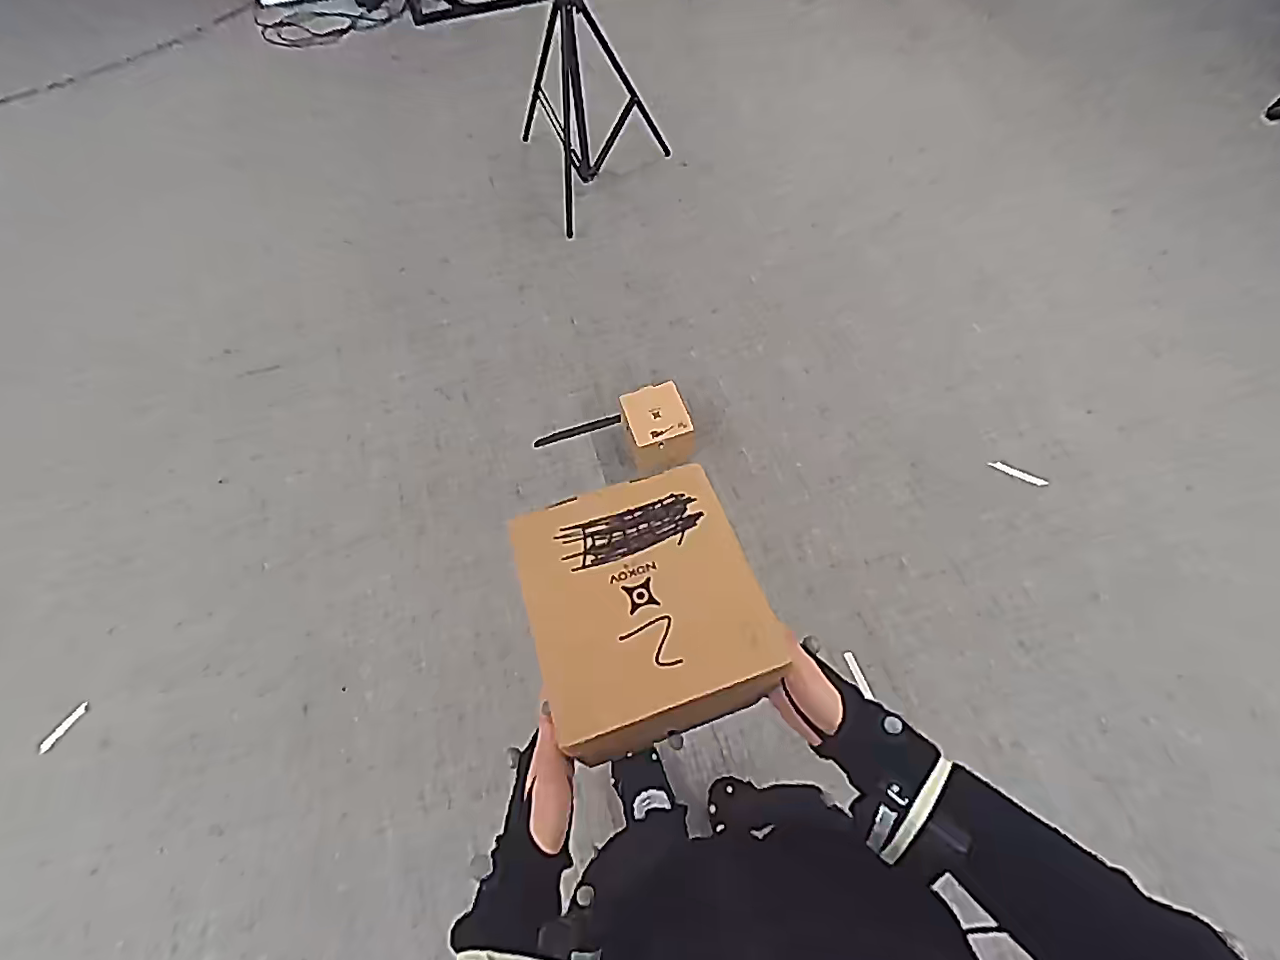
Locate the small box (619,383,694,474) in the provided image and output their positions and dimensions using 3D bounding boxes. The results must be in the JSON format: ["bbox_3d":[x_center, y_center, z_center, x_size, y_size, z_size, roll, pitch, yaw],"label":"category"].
[{"bbox_3d":[0.044,-0.146,1.562,0.168,0.176,0.179,-18,65,-7],"label":"small box"}]
